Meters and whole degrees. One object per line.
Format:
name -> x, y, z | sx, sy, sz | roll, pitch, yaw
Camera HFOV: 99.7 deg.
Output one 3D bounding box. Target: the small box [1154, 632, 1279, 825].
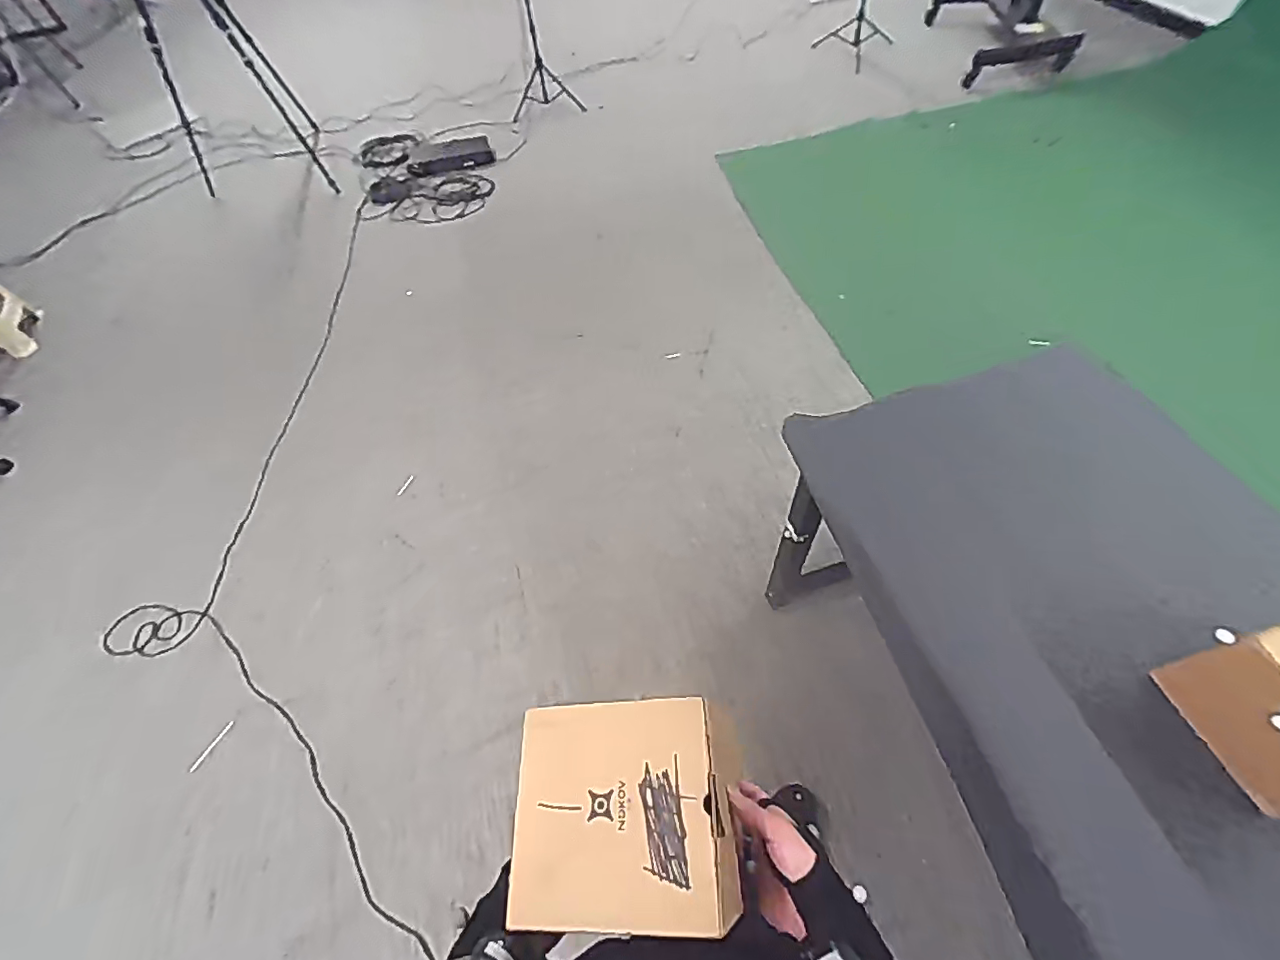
small box -> 0.765, 0.270, 0.612 | 0.168, 0.176, 0.179 | -17, 58, -5
